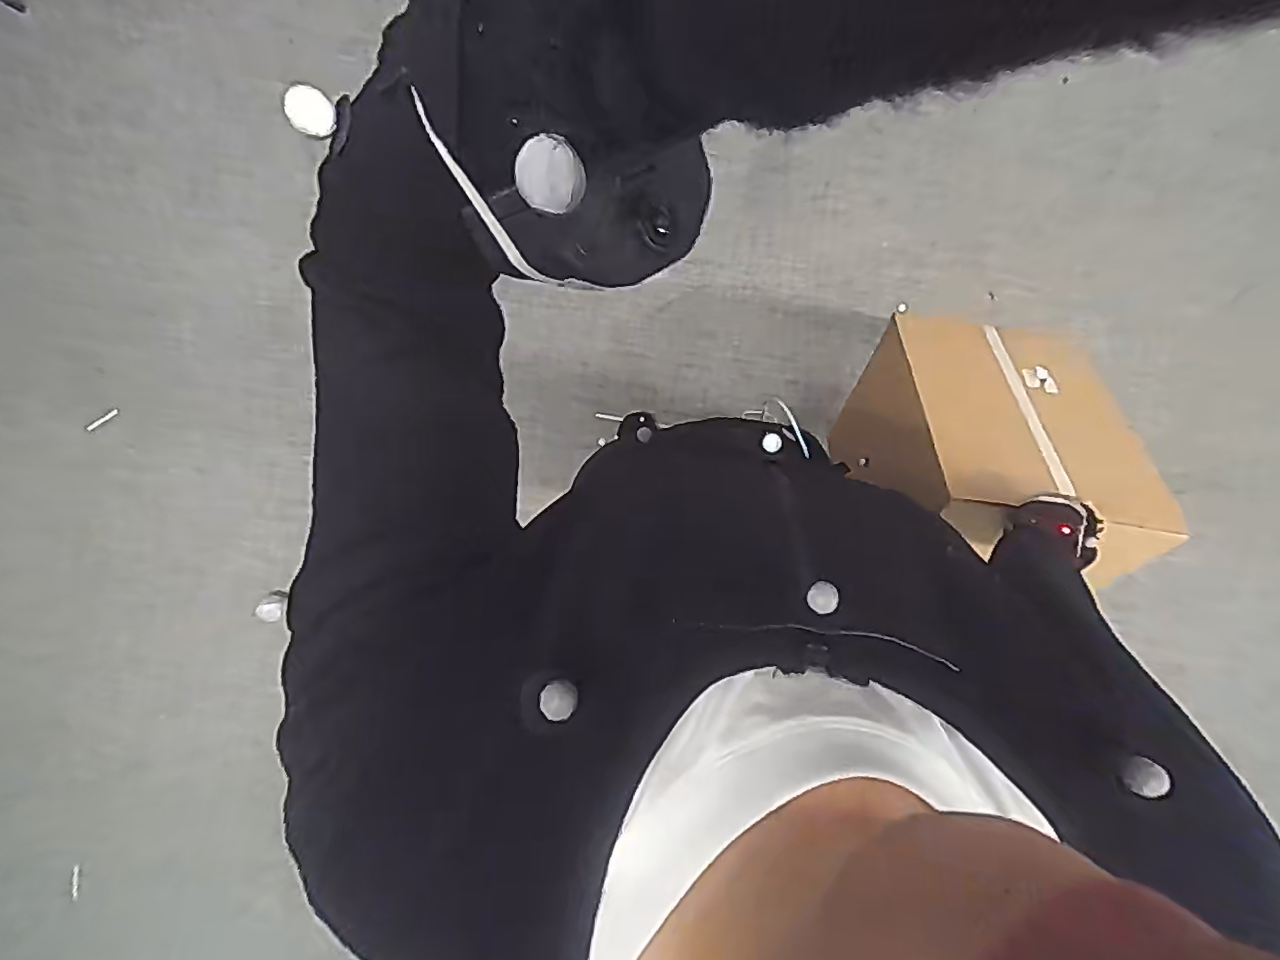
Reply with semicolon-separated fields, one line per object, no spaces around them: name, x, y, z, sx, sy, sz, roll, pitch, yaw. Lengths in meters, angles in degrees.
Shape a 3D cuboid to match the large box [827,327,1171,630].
large box;0.544;-0.002;0.936;0.320;0.408;0.320;10;139;-1
